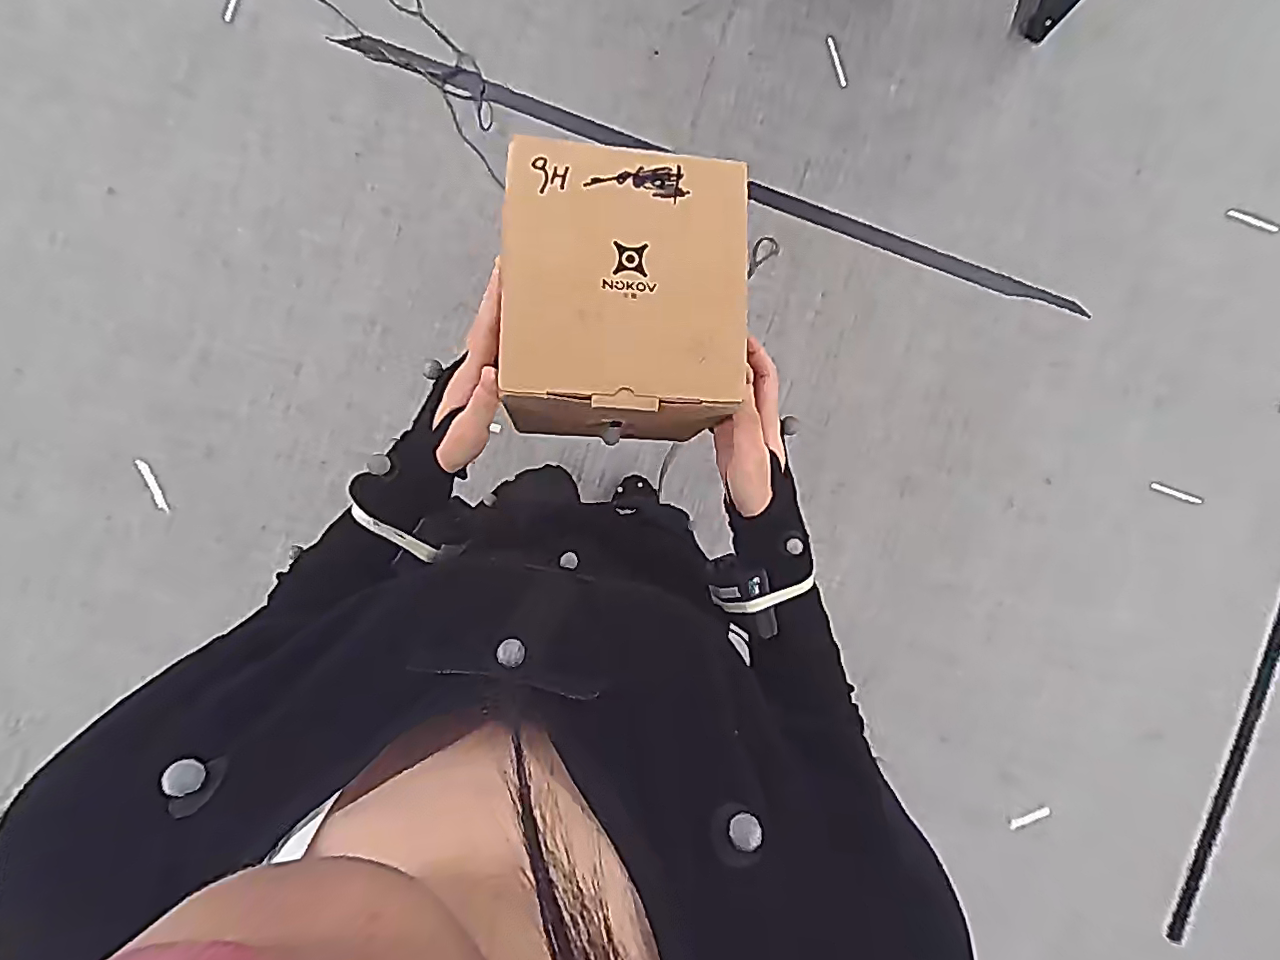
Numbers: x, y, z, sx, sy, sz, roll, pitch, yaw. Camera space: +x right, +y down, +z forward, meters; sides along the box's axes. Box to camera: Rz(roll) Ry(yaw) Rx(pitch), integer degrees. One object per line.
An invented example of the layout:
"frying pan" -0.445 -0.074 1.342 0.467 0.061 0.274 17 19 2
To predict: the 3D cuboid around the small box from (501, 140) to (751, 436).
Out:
"small box" -0.016 -0.132 0.440 0.168 0.176 0.179 2 87 -8
